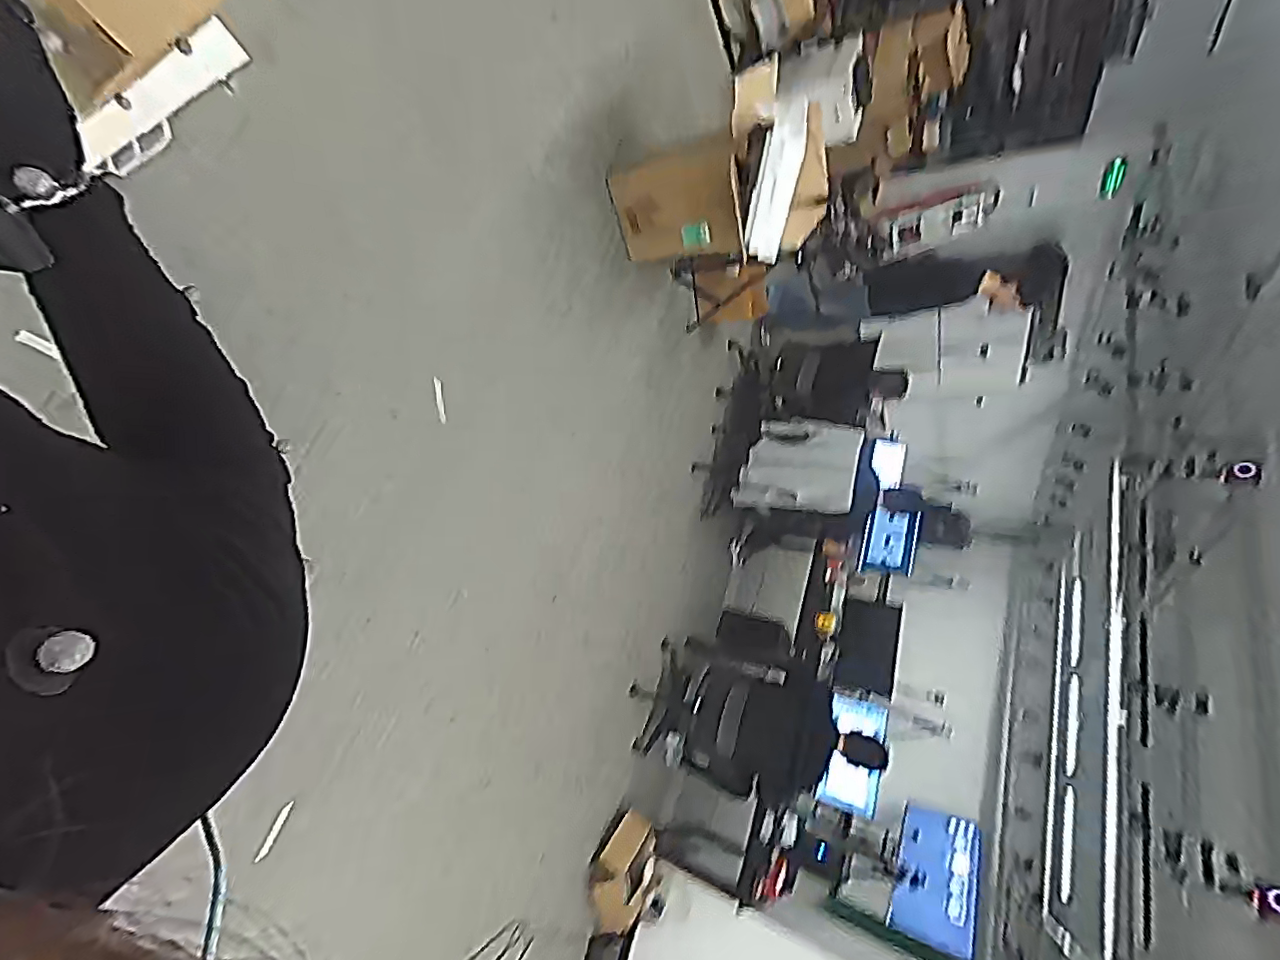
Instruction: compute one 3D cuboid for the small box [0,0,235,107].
[{"bbox_3d":[-0.499,-0.474,0.478,0.168,0.176,0.179,53,51,-48],"label":"small box"}]
